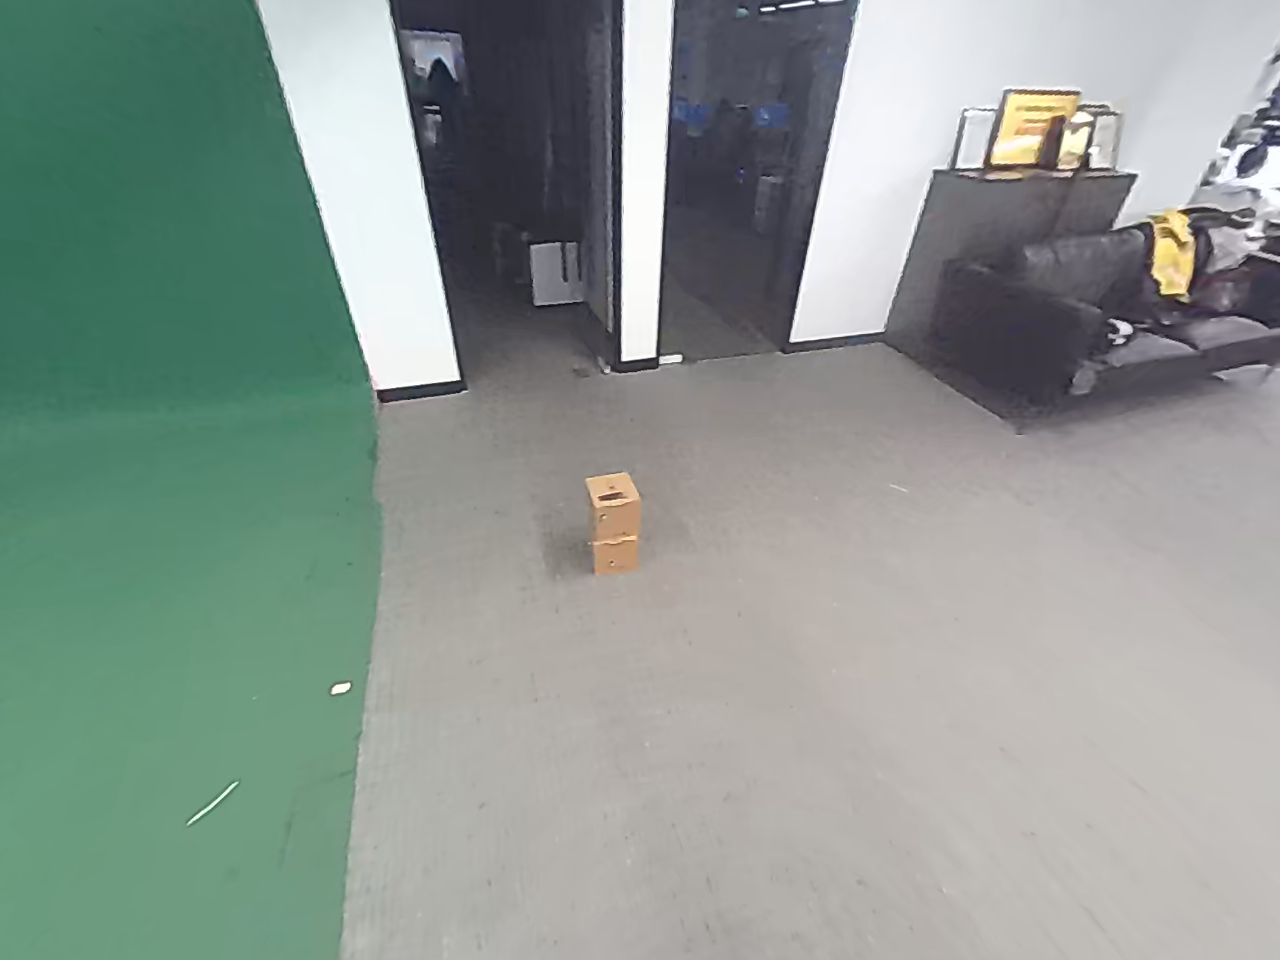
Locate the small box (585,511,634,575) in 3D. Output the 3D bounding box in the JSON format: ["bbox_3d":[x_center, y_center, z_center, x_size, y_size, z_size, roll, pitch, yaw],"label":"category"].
[{"bbox_3d":[-0.123,0.242,2.093,0.168,0.176,0.179,-6,39,-11],"label":"small box"}]
